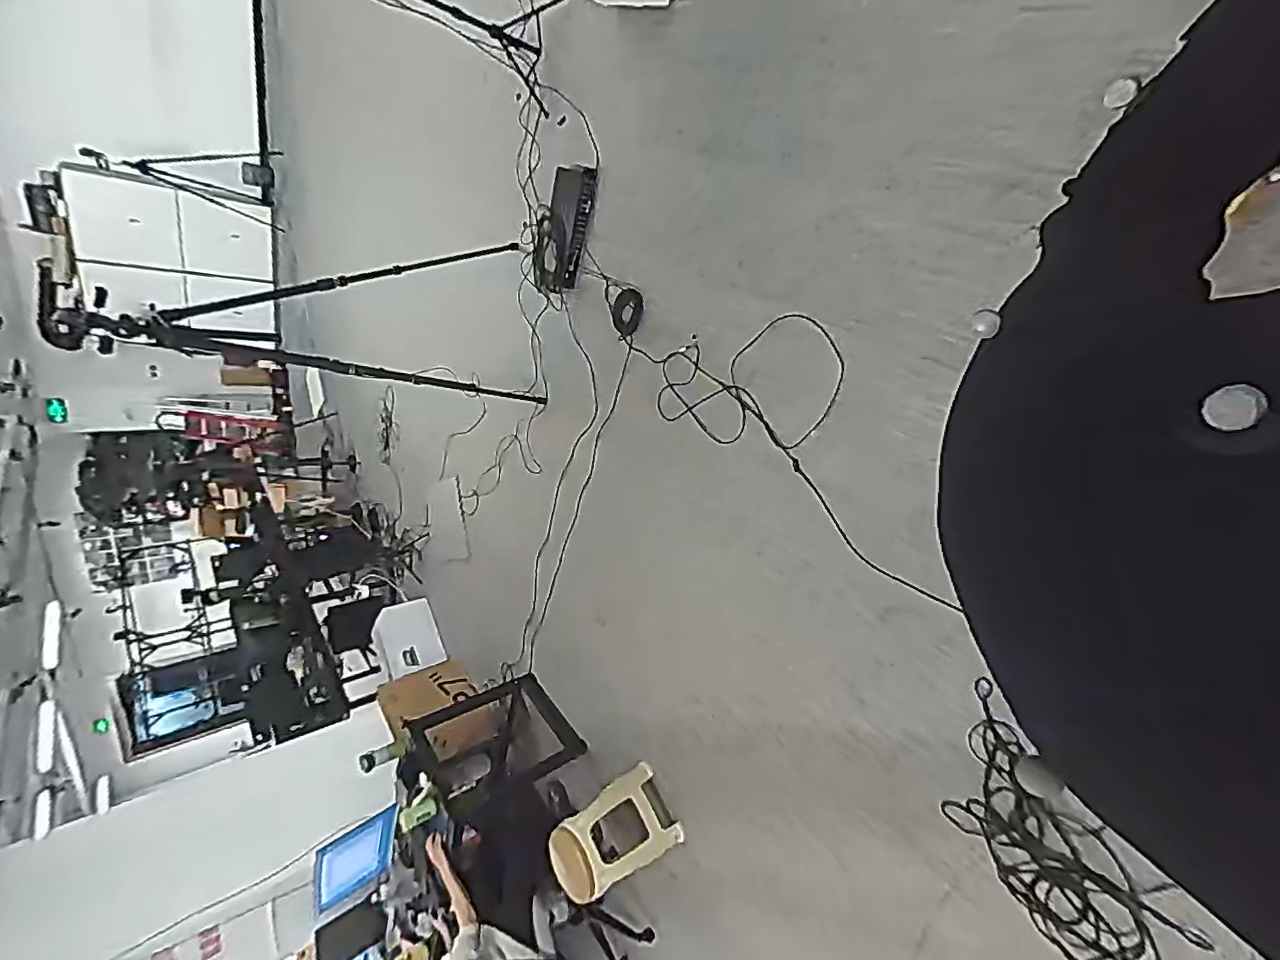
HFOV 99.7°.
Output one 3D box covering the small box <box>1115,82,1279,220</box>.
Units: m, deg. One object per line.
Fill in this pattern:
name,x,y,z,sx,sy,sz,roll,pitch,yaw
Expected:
small box,0.992,-0.568,0.945,0.179,0.176,0.168,37,124,37
